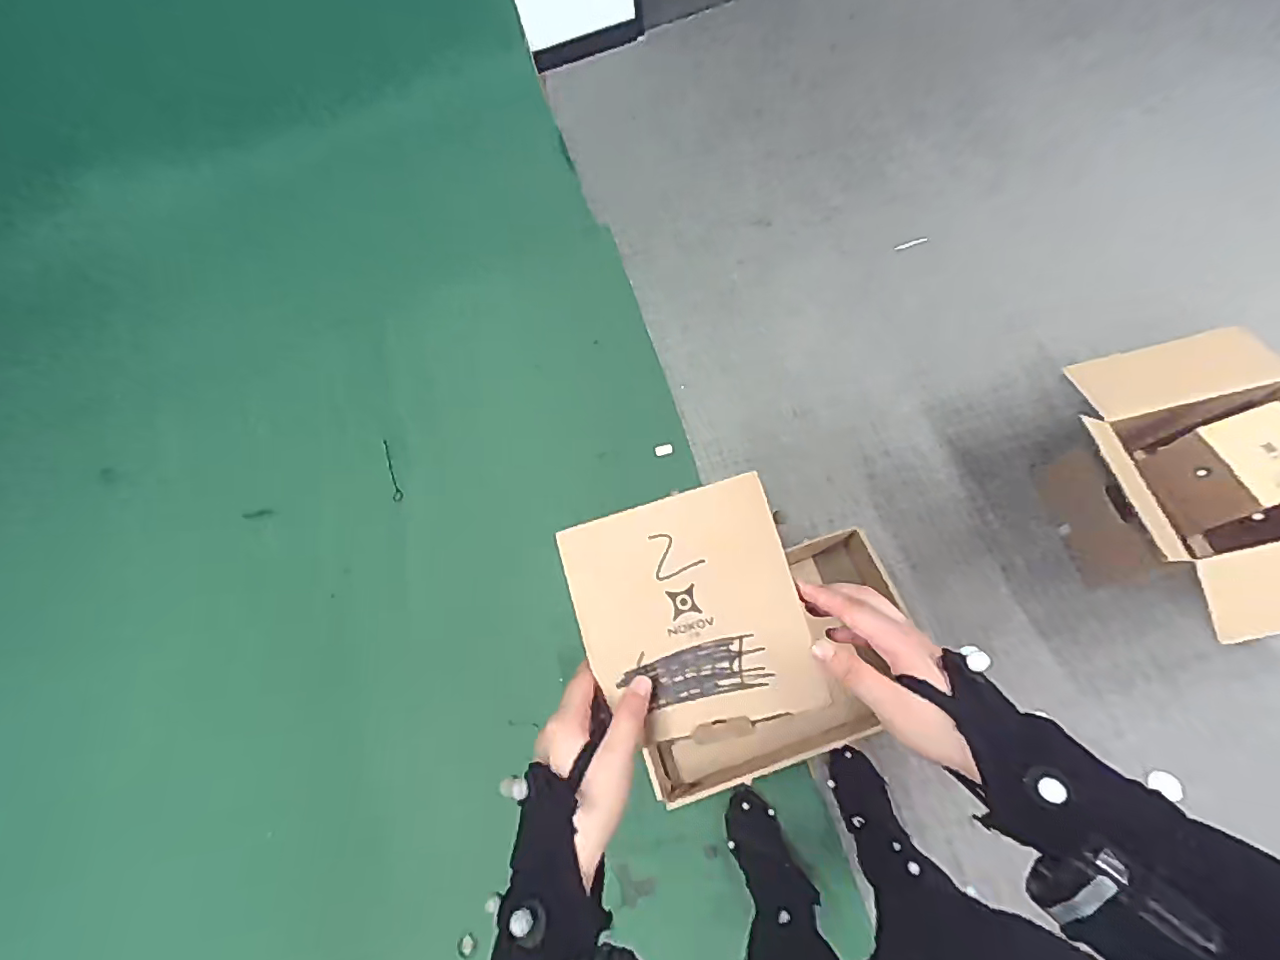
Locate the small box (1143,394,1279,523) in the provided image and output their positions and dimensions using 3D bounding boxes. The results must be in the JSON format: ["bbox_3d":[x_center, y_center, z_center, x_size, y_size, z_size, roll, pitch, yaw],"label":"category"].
[{"bbox_3d":[1.188,-0.037,1.084,0.168,0.176,0.179,-21,66,2],"label":"small box"}]

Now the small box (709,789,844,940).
[{"bbox_3d":[0.275,0.749,1.069,0.176,0.168,0.179,41,52,-8],"label":"small box"}]

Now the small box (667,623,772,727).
[{"bbox_3d":[0.172,0.430,1.183,0.179,0.176,0.168,-19,65,-1],"label":"small box"}]
